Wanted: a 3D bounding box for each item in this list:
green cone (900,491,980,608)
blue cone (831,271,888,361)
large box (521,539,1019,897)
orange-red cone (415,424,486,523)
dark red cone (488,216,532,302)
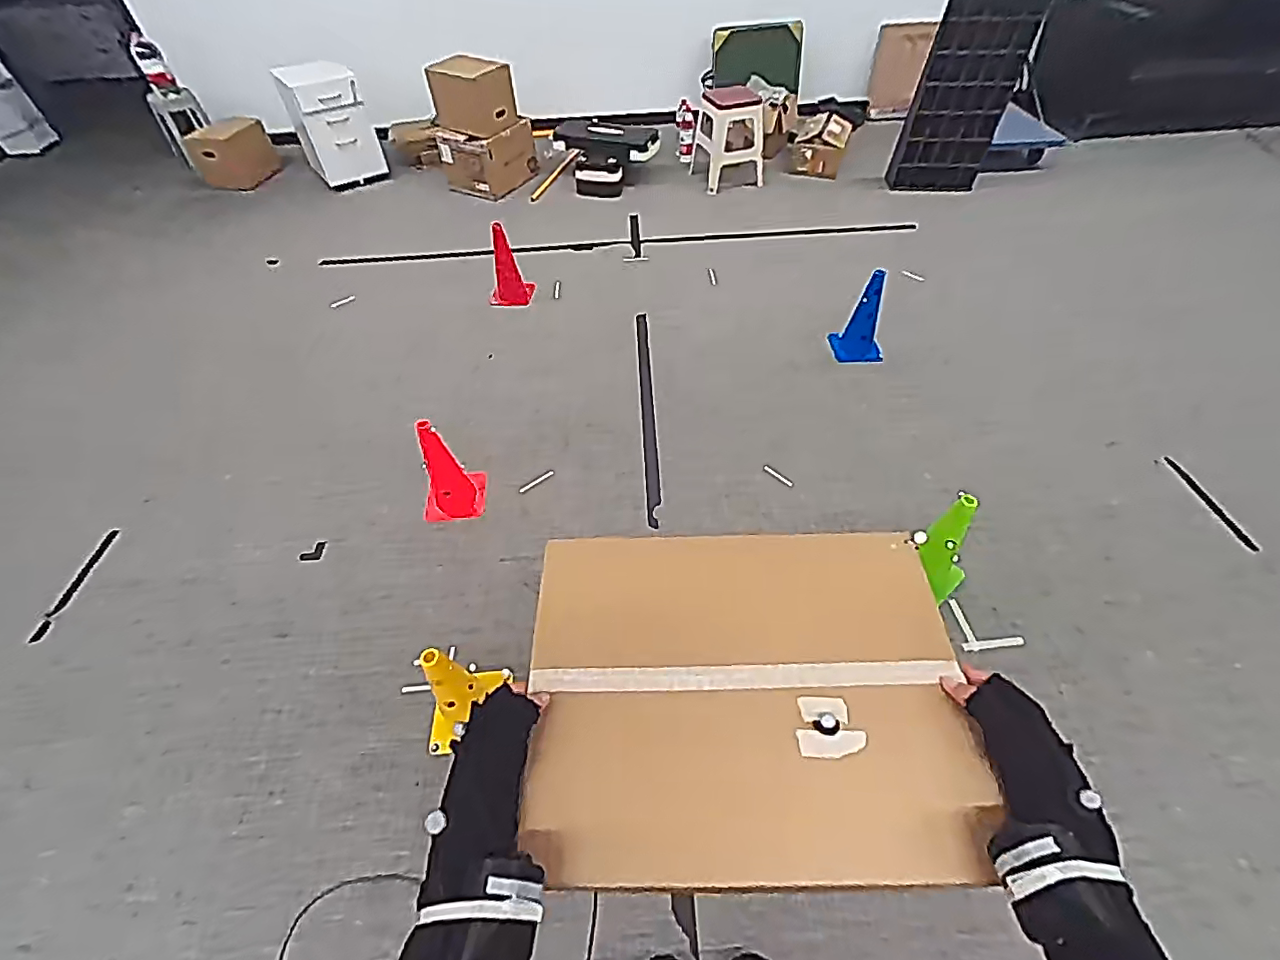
[{"bbox_3d":[0.853,0.164,1.517,0.202,0.368,0.200,-33,57,-25],"label":"green cone"},{"bbox_3d":[0.945,-0.690,2.255,0.192,0.380,0.193,-1,50,1],"label":"blue cone"},{"bbox_3d":[0.102,0.284,0.632,0.408,0.320,0.320,-1,52,1],"label":"large box"},{"bbox_3d":[-0.650,-0.044,1.764,0.198,0.360,0.199,-6,51,-1],"label":"orange-red cone"},{"bbox_3d":[-0.652,-1.055,2.583,0.201,0.394,0.202,1,50,2],"label":"dark red cone"}]
